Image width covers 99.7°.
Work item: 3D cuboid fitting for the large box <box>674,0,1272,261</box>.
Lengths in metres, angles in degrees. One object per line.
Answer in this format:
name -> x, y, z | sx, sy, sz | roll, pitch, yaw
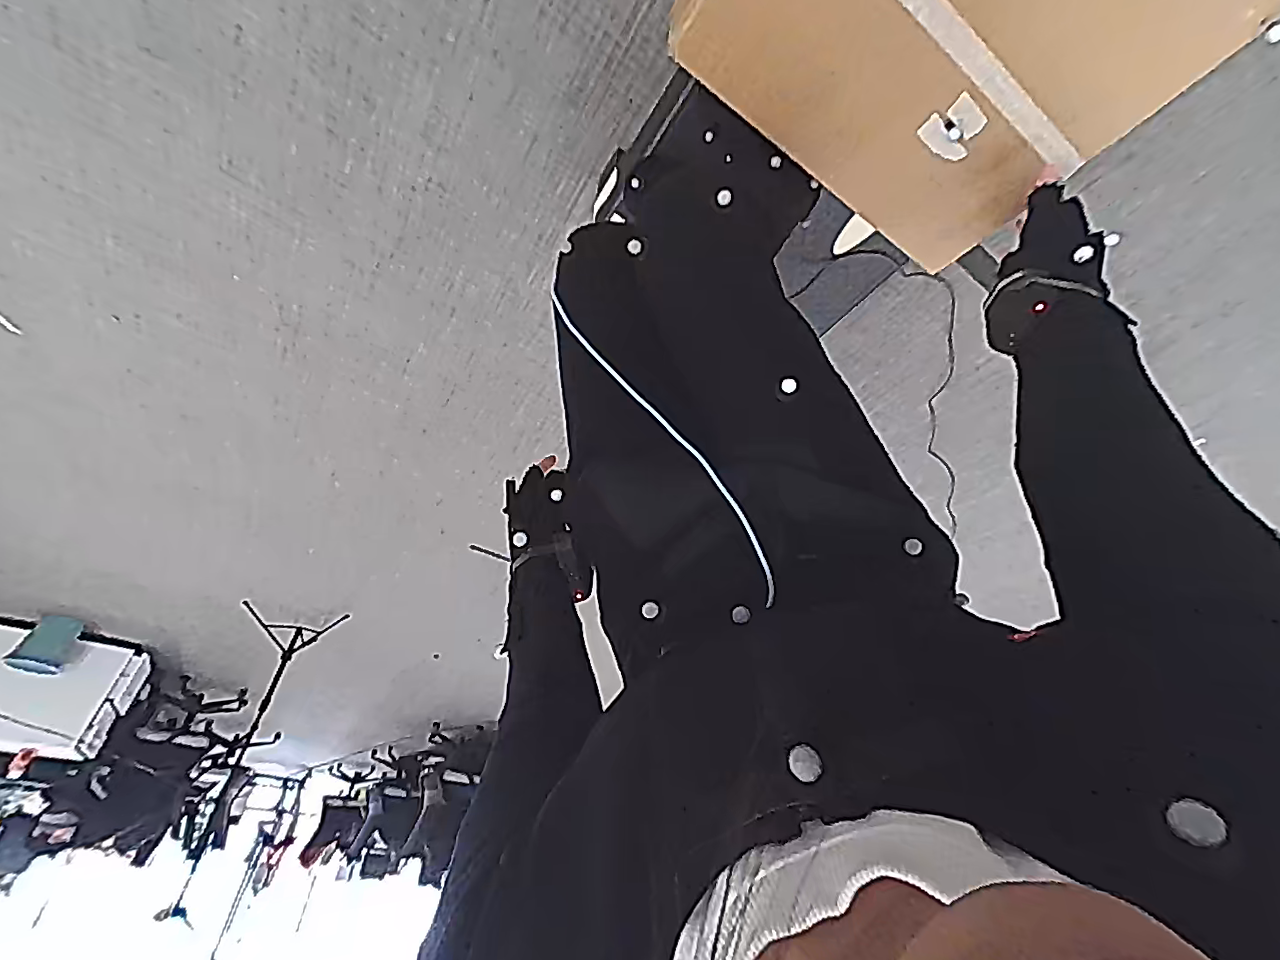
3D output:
large box -> 0.285, -0.523, 0.553 | 0.408, 0.320, 0.320 | 22, 145, -24
